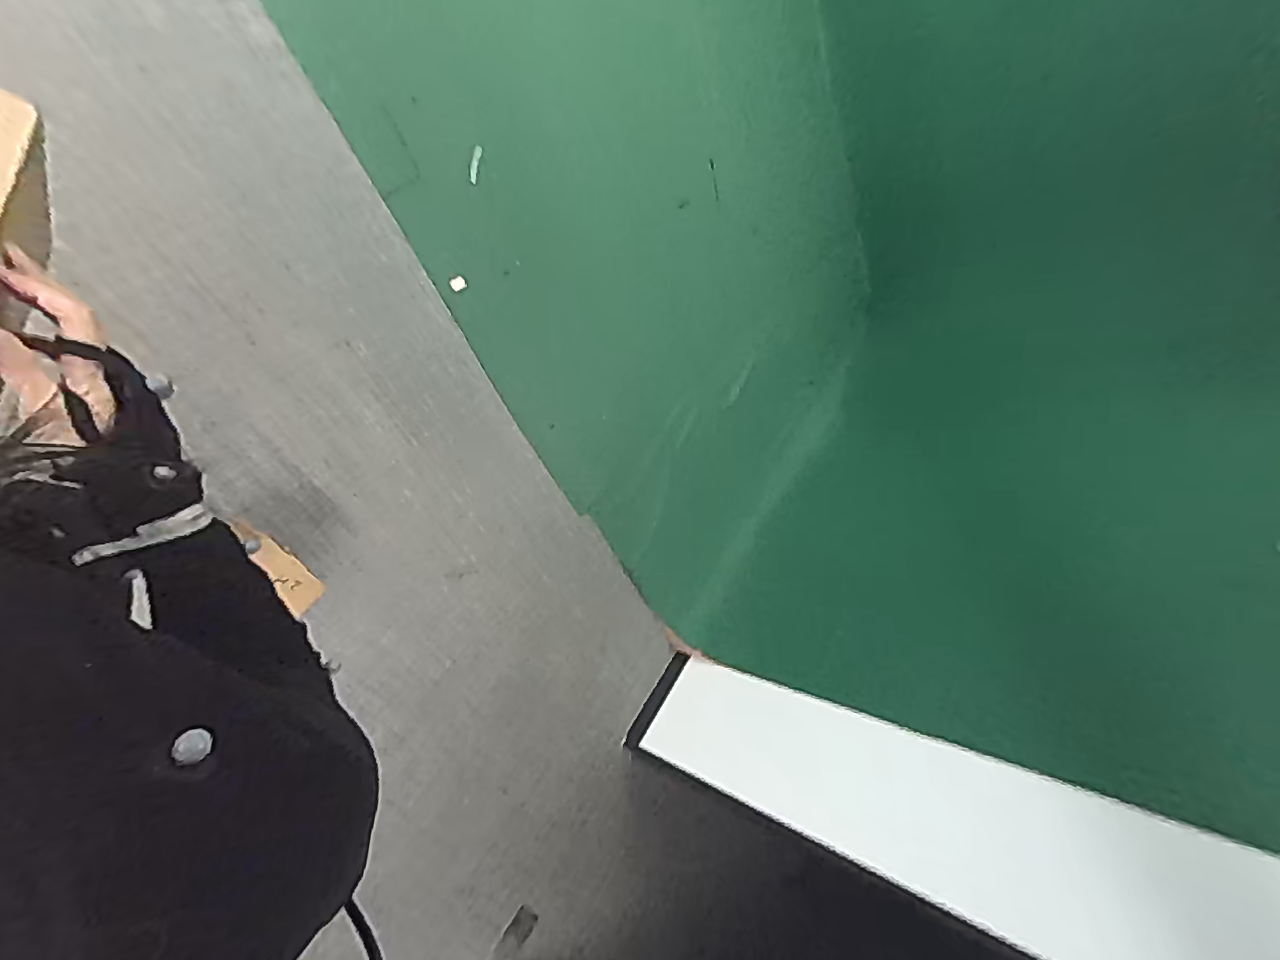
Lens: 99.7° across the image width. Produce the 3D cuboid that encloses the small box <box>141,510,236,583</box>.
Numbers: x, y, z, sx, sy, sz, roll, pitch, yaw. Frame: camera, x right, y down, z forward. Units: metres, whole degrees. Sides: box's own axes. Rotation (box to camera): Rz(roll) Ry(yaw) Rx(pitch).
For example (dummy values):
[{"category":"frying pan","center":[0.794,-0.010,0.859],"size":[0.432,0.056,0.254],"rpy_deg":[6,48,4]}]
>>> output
[{"category":"small box","center":[-0.943,0.185,1.188],"size":[0.179,0.176,0.168],"rpy_deg":[-53,131,-32]}]

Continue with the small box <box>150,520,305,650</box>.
[{"category":"small box","center":[-0.823,0.202,1.076],"size":[0.179,0.176,0.168],"rpy_deg":[-53,131,-32]}]
